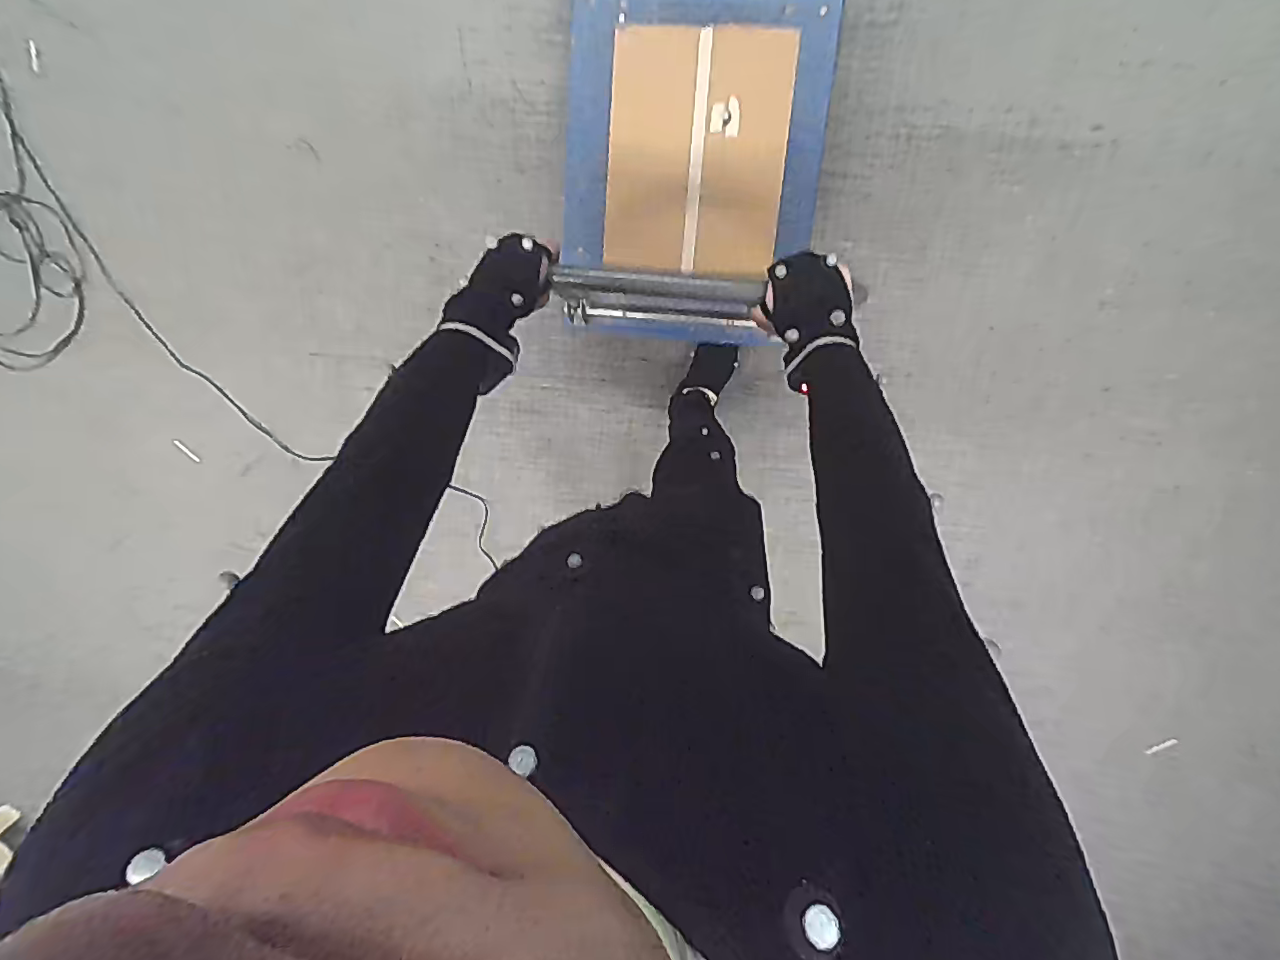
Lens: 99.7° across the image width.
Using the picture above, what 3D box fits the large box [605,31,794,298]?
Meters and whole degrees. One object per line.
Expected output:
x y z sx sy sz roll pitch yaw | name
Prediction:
0.114 -0.604 1.113 0.320 0.320 0.408 5 103 4 | large box
